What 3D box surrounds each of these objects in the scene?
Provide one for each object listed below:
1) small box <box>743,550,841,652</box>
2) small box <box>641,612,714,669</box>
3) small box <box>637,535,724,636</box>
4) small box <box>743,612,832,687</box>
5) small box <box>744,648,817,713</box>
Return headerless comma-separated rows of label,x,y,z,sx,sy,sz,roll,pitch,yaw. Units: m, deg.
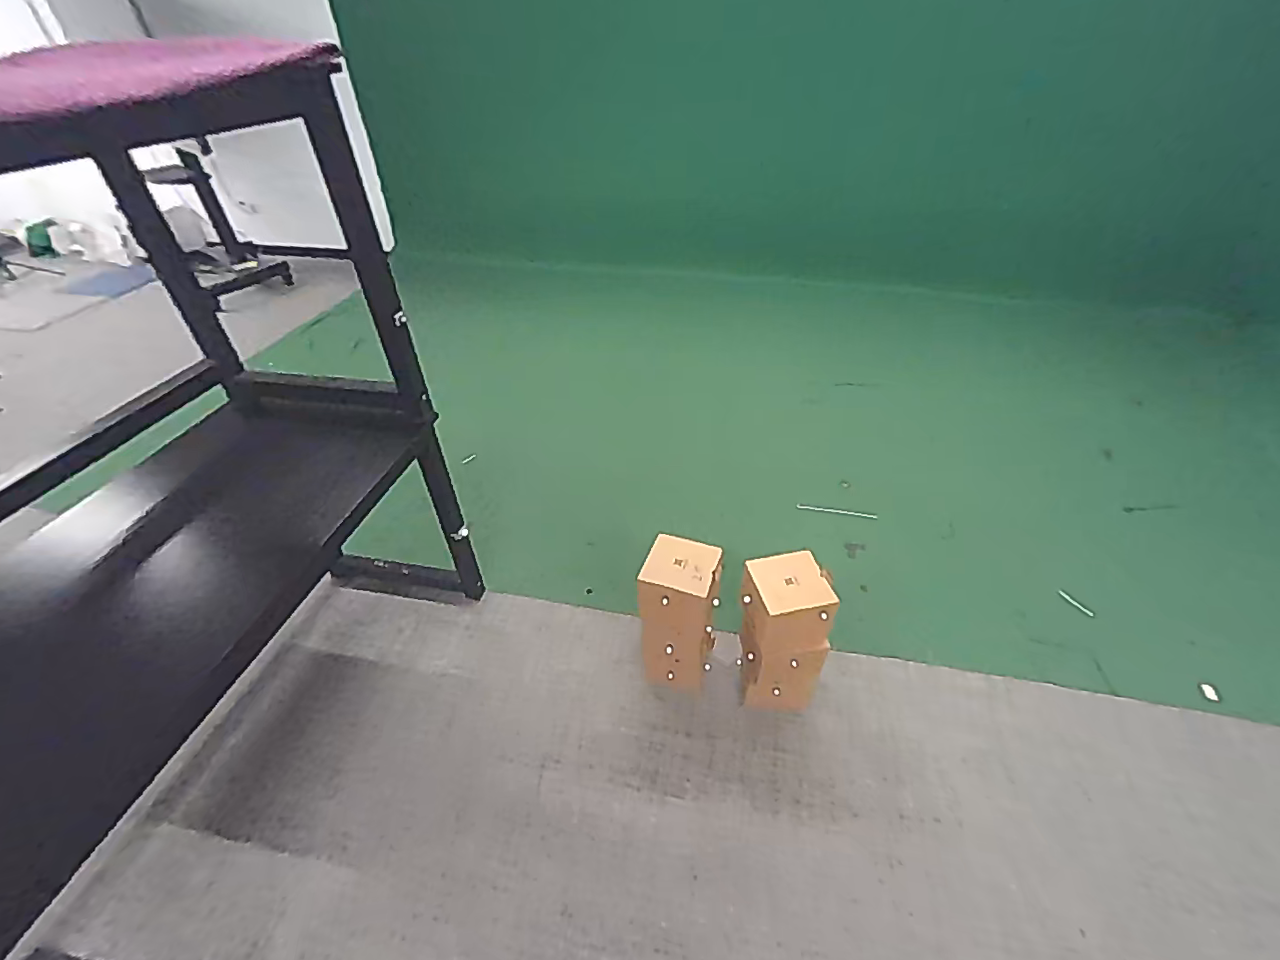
small box,0.362,0.302,1.333,0.179,0.176,0.168,-9,42,-10
small box,0.109,0.389,1.488,0.168,0.176,0.179,11,42,15
small box,0.104,0.269,1.372,0.179,0.176,0.168,13,42,17
small box,0.379,0.430,1.434,0.179,0.176,0.168,-6,42,-6
small box,0.392,0.547,1.546,0.179,0.176,0.168,3,41,4
